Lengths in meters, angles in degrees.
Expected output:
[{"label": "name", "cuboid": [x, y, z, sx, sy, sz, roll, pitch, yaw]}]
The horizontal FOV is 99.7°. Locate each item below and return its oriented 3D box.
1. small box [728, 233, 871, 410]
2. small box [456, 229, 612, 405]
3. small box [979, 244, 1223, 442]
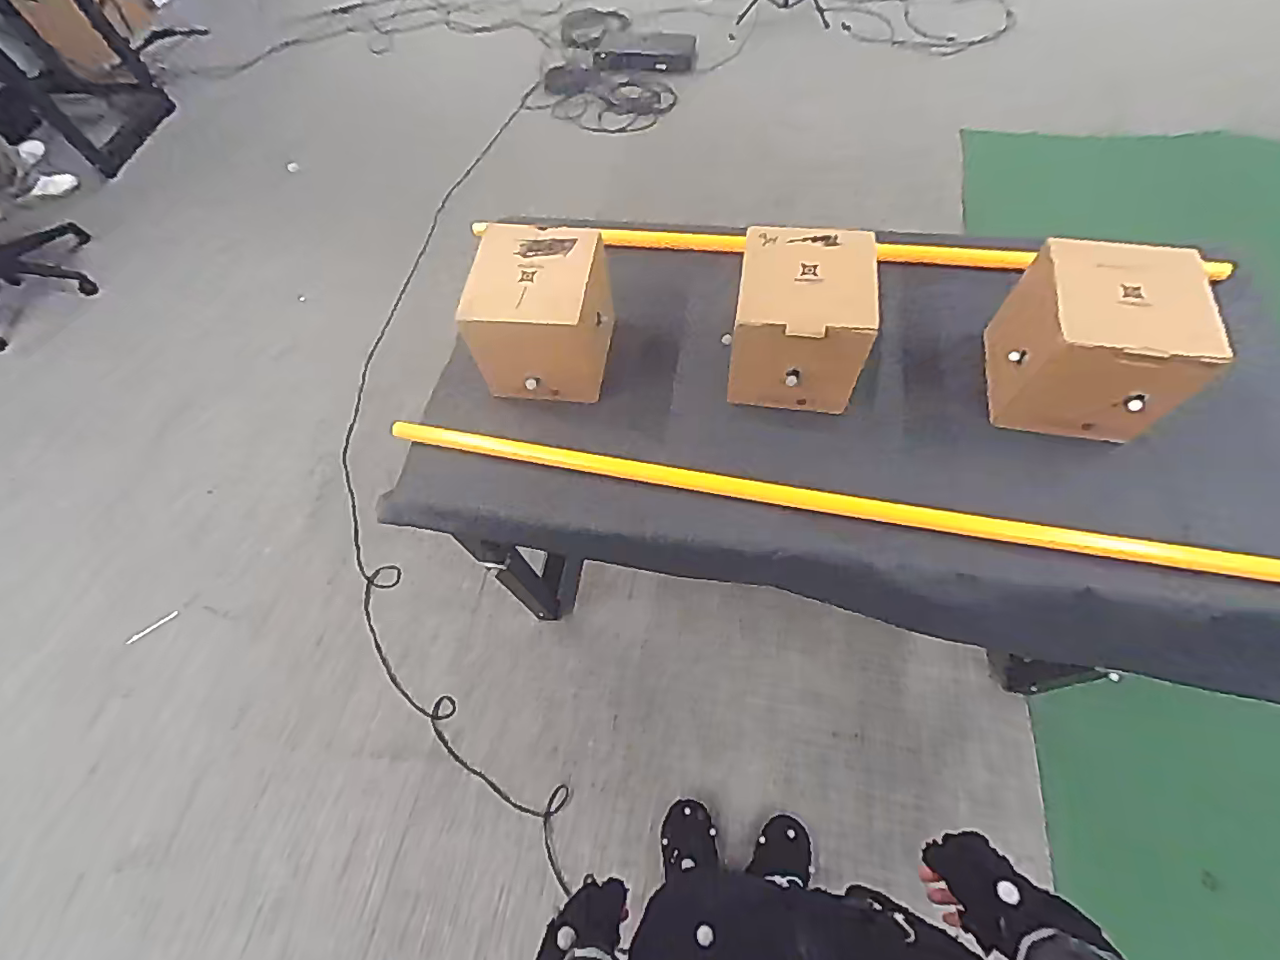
[{"label": "small box", "cuboid": [0.211, -0.213, 0.751, 0.168, 0.176, 0.179, 4, 62, 9]}, {"label": "small box", "cuboid": [-0.139, -0.234, 0.788, 0.168, 0.176, 0.179, 5, 63, 8]}, {"label": "small box", "cuboid": [0.564, -0.169, 0.695, 0.168, 0.176, 0.179, 10, 62, 9]}]
